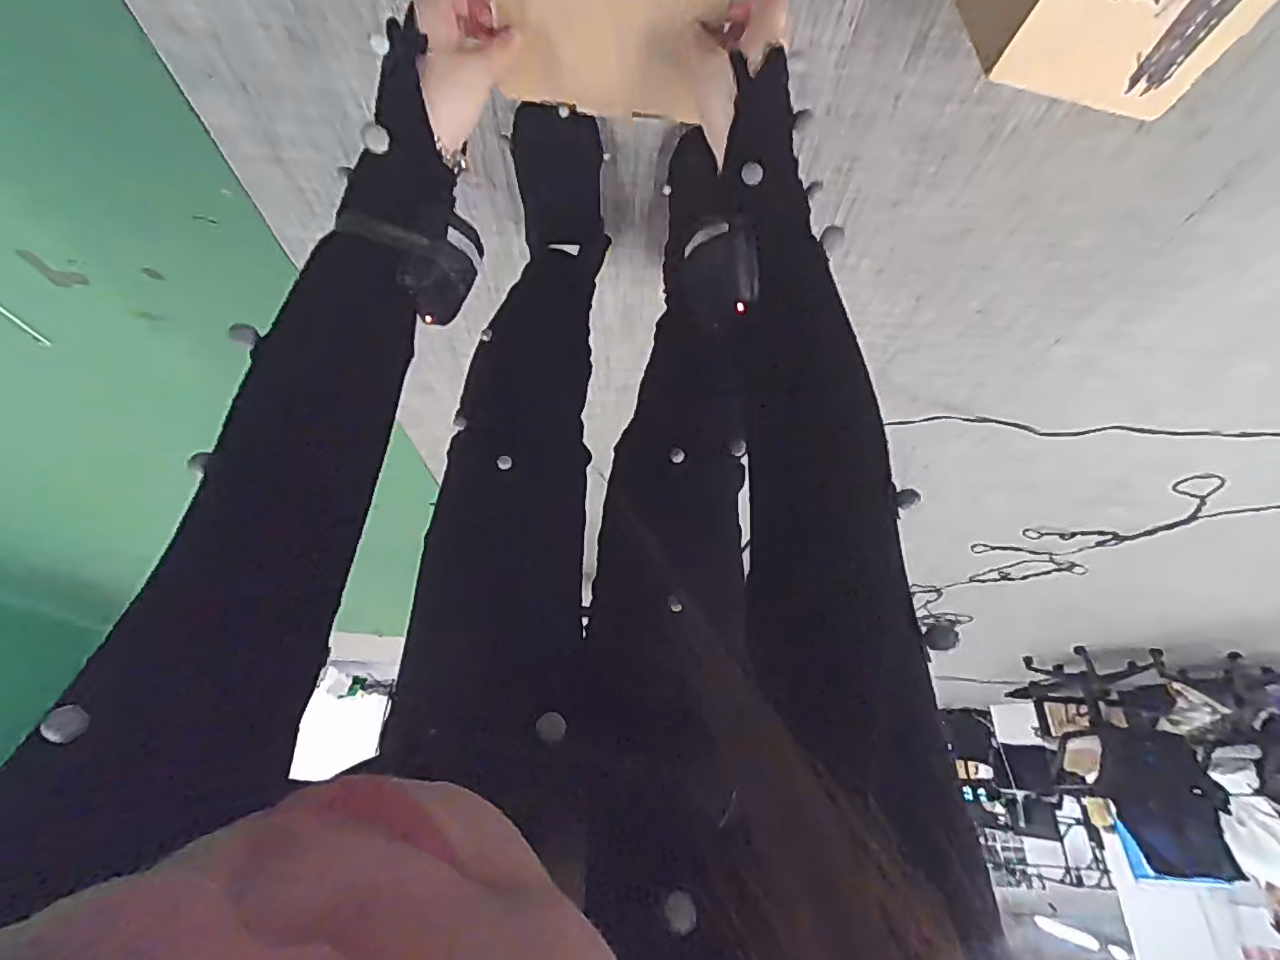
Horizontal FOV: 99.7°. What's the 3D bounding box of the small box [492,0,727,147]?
[{"bbox_3d":[-0.018,-0.398,0.420,0.168,0.176,0.179,5,142,-4],"label":"small box"}]
